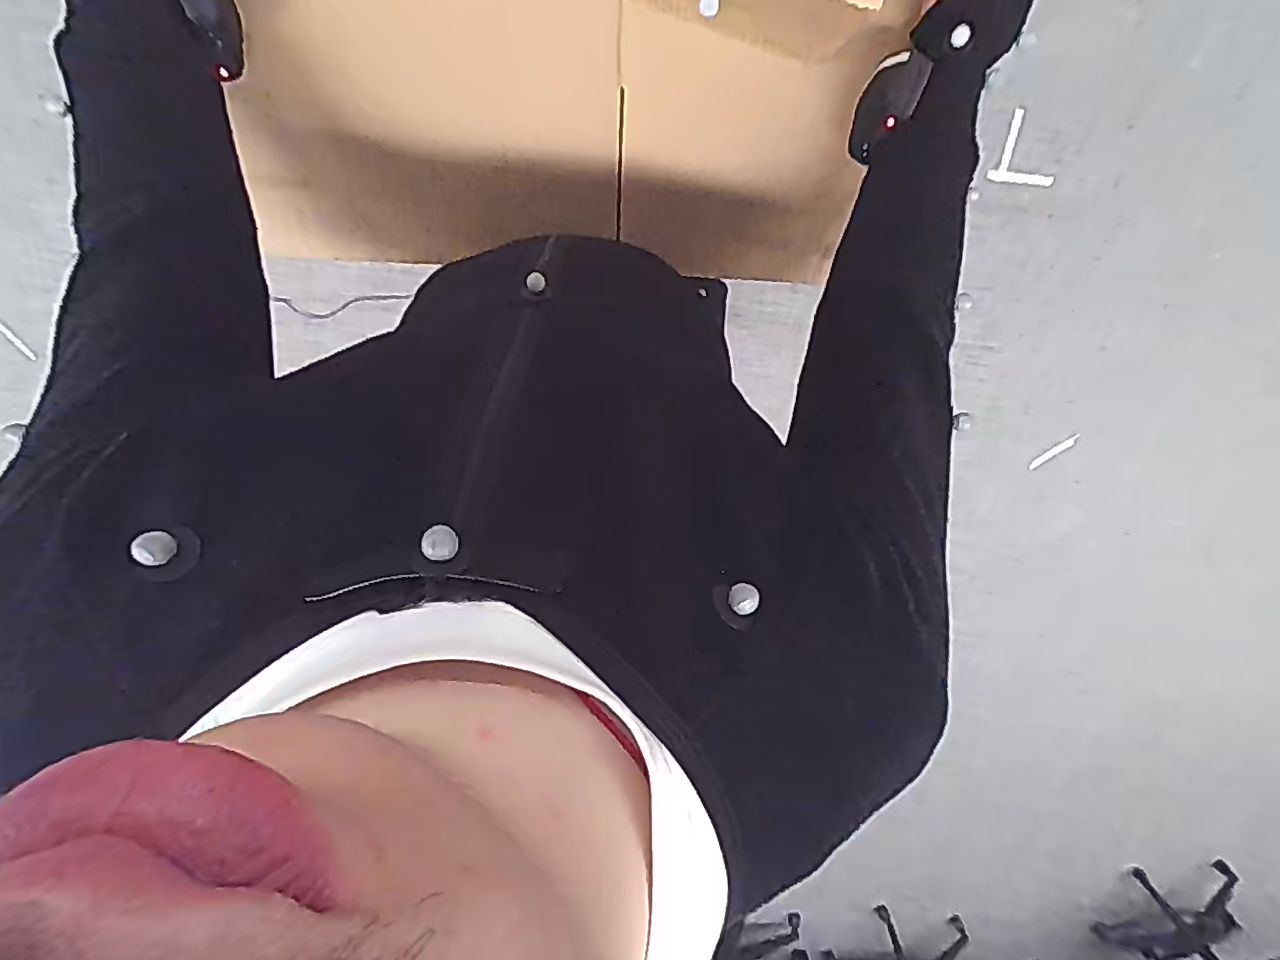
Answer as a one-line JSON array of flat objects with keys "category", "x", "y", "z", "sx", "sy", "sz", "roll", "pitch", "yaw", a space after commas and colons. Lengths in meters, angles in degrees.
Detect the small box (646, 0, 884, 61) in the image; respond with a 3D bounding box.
[{"category": "small box", "x": 0.095, "y": -0.418, "z": 0.364, "sx": 0.179, "sy": 0.176, "sz": 0.168, "roll": 16, "pitch": 118, "yaw": -4}]
